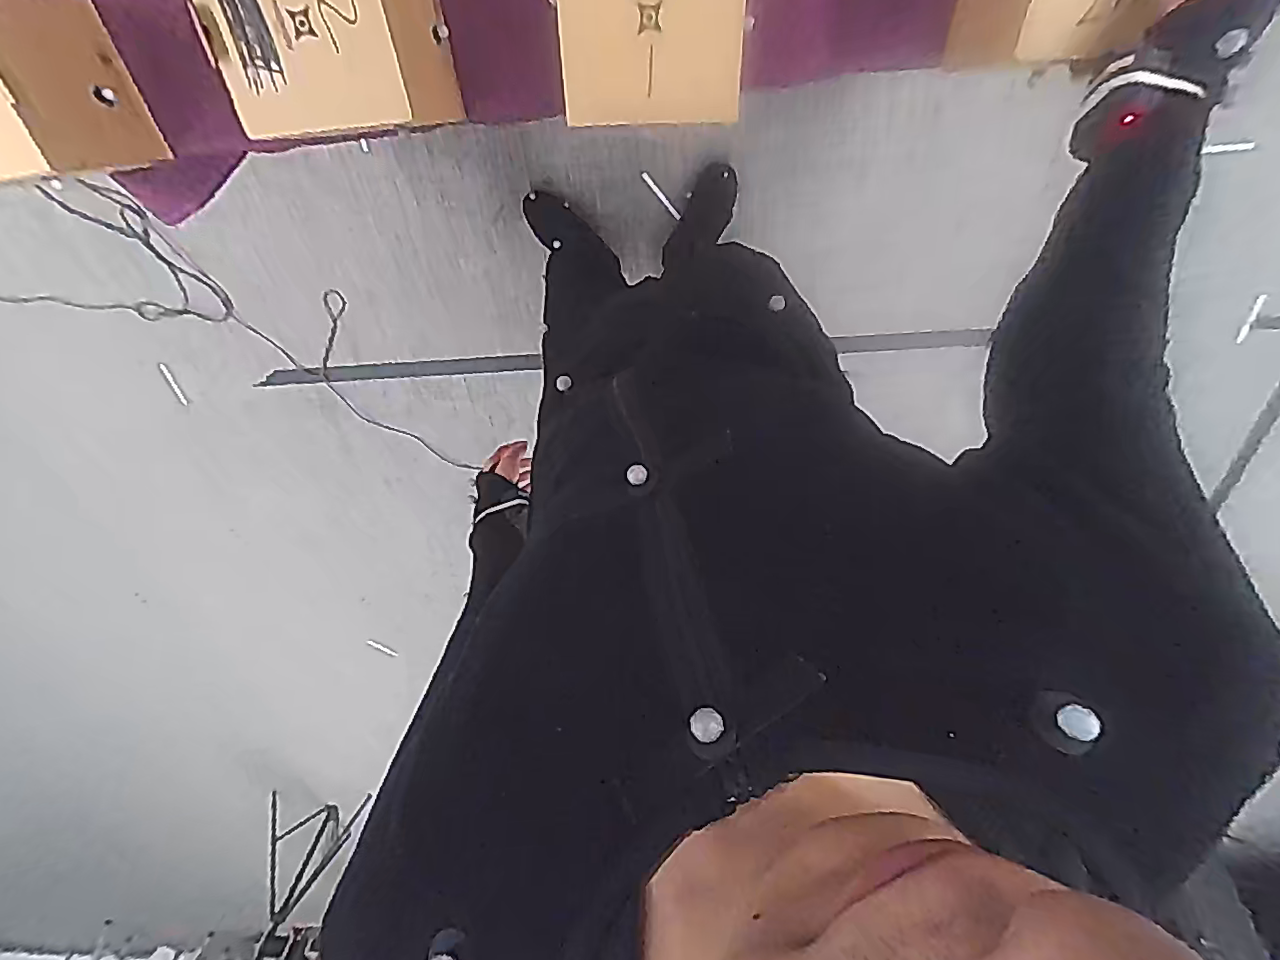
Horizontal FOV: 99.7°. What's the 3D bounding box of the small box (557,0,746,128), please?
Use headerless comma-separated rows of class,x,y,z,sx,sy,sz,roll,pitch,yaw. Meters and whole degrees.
small box,0.013,-0.454,0.533,0.168,0.176,0.179,1,125,4

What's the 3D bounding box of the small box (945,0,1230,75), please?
small box,0.408,-0.481,0.488,0.168,0.176,0.179,3,125,4

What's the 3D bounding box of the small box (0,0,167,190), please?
small box,-0.701,-0.424,0.599,0.179,0.176,0.168,-6,124,6
